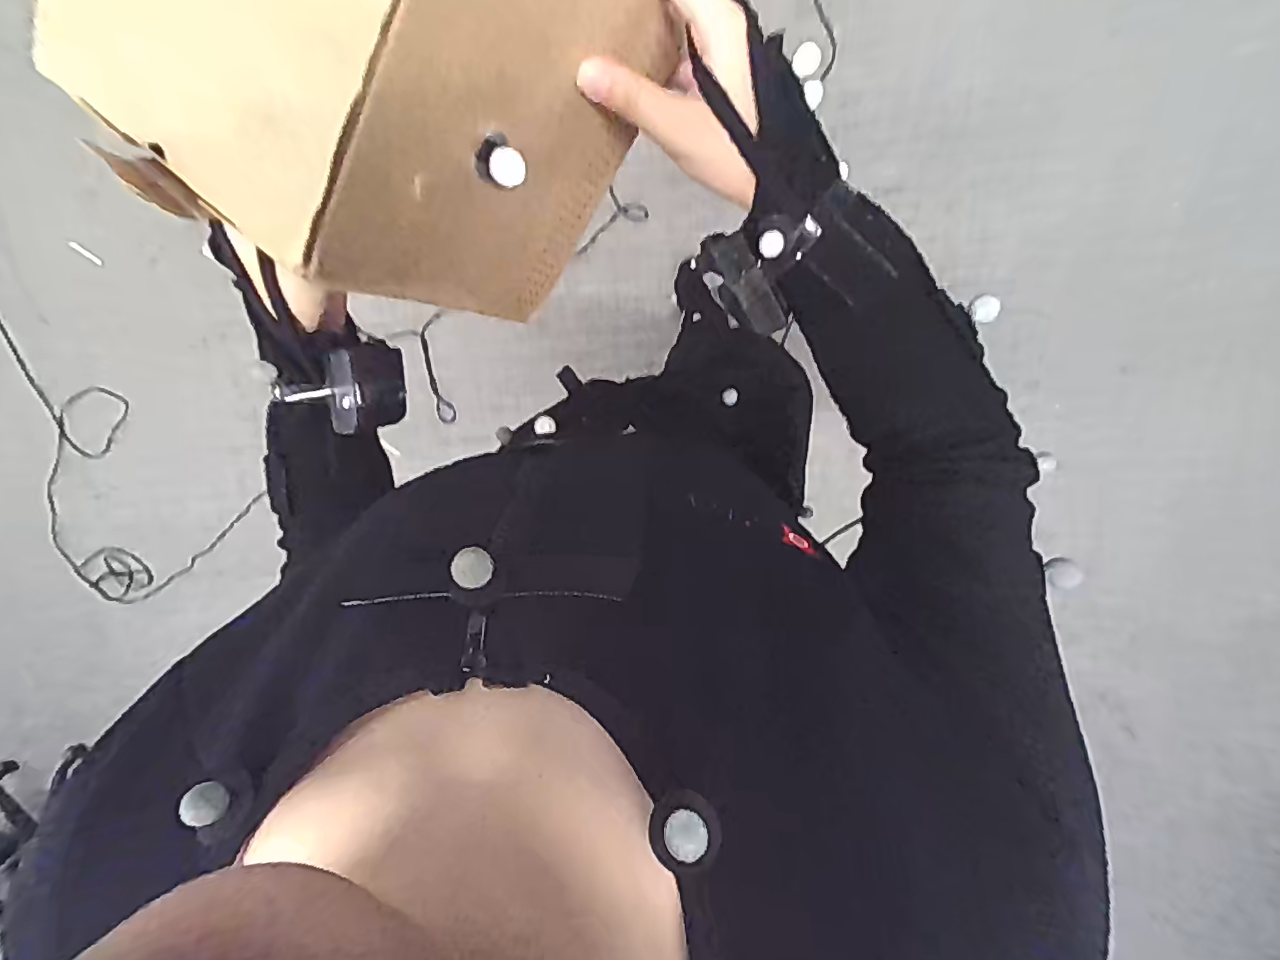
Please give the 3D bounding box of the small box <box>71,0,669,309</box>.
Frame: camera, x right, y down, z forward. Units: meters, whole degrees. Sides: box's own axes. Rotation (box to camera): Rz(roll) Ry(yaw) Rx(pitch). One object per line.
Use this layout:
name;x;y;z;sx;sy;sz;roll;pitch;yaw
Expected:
small box;-0.108;-0.204;0.262;0.168;0.176;0.179;38;110;10
